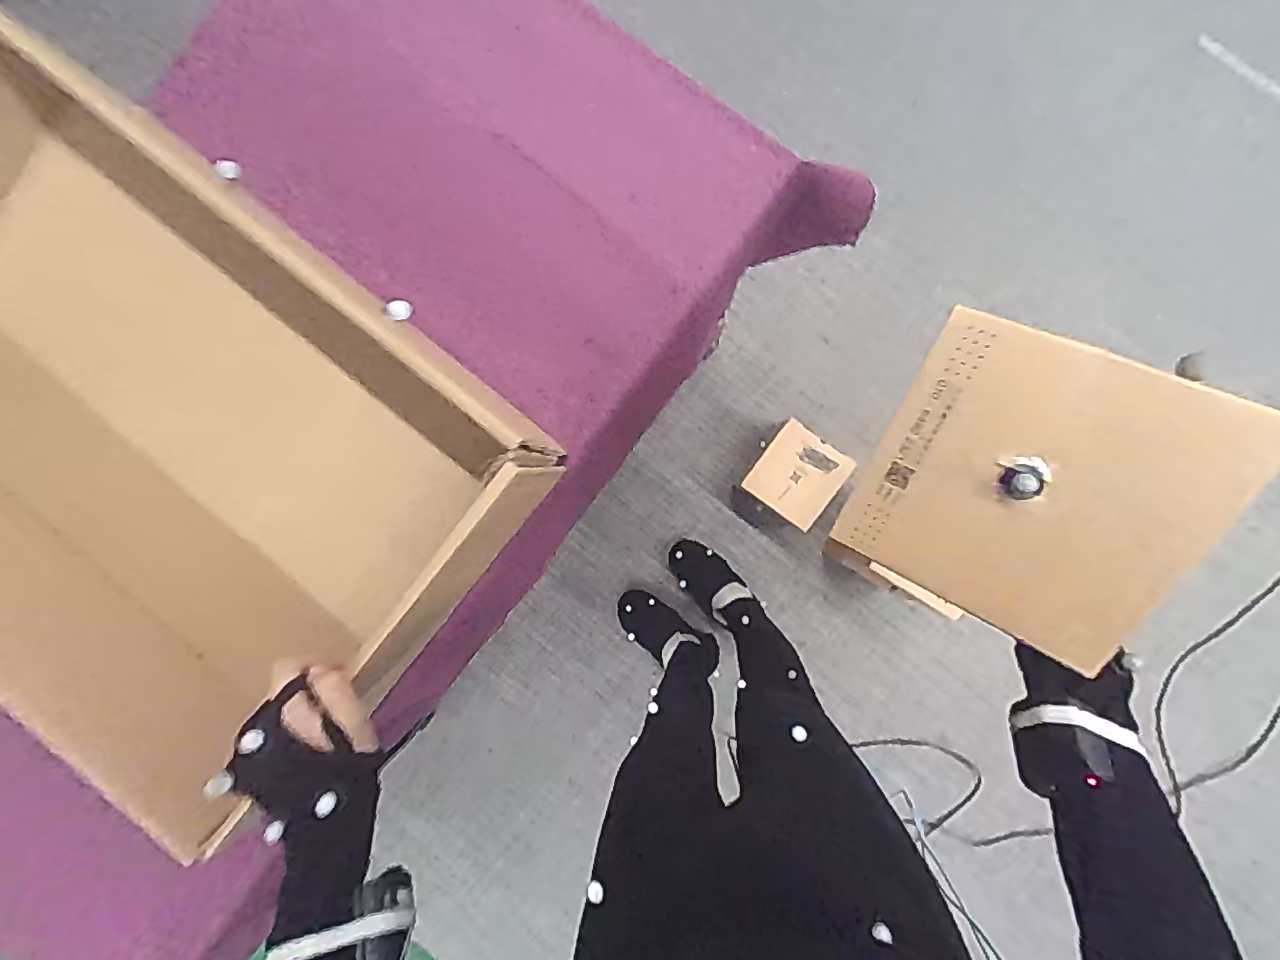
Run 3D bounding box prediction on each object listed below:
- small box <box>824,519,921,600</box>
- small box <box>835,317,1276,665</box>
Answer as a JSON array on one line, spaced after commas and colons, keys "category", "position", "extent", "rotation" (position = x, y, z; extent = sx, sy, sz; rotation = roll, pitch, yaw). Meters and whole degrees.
[{"category": "small box", "position": [0.521, 0.127, 1.167], "extent": [0.168, 0.176, 0.179], "rotation": [32, 93, 3]}, {"category": "small box", "position": [0.265, -0.009, 0.396], "extent": [0.176, 0.179, 0.168], "rotation": [31, 115, 22]}]
